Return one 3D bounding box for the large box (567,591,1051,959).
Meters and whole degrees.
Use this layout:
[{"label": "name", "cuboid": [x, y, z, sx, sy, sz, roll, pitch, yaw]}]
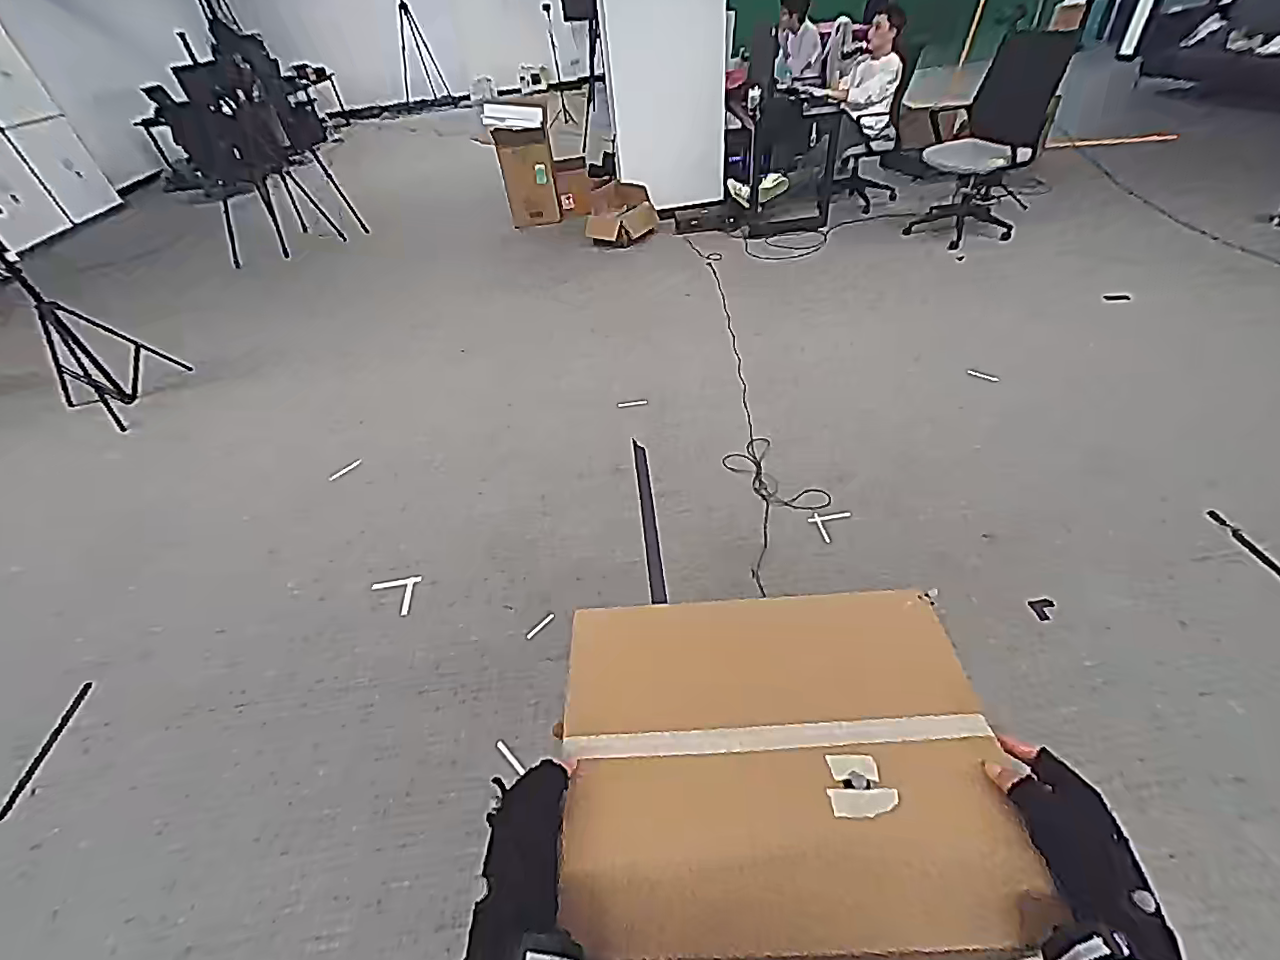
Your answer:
[{"label": "large box", "cuboid": [0.140, 0.360, 0.646, 0.408, 0.320, 0.320, -4, 45, 2]}]
